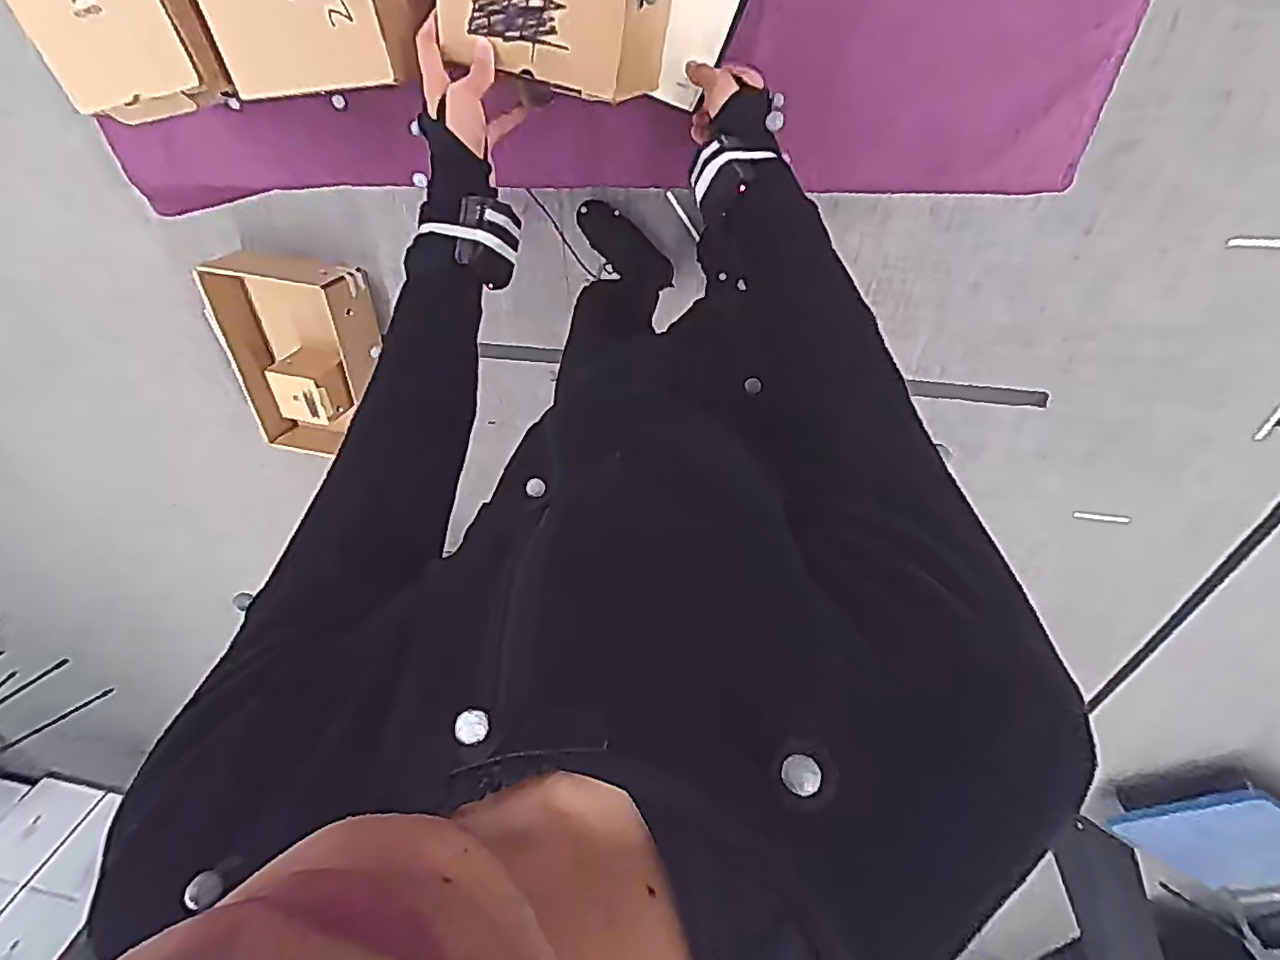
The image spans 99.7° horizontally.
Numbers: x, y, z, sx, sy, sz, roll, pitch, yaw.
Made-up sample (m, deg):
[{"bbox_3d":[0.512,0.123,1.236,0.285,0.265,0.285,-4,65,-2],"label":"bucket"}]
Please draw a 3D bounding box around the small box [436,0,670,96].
[{"bbox_3d":[-0.062,-0.464,0.471,0.168,0.176,0.179,17,131,4],"label":"small box"}]

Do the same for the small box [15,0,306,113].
[{"bbox_3d":[-0.497,-0.503,0.558,0.168,0.176,0.179,-1,128,13],"label":"small box"}]
